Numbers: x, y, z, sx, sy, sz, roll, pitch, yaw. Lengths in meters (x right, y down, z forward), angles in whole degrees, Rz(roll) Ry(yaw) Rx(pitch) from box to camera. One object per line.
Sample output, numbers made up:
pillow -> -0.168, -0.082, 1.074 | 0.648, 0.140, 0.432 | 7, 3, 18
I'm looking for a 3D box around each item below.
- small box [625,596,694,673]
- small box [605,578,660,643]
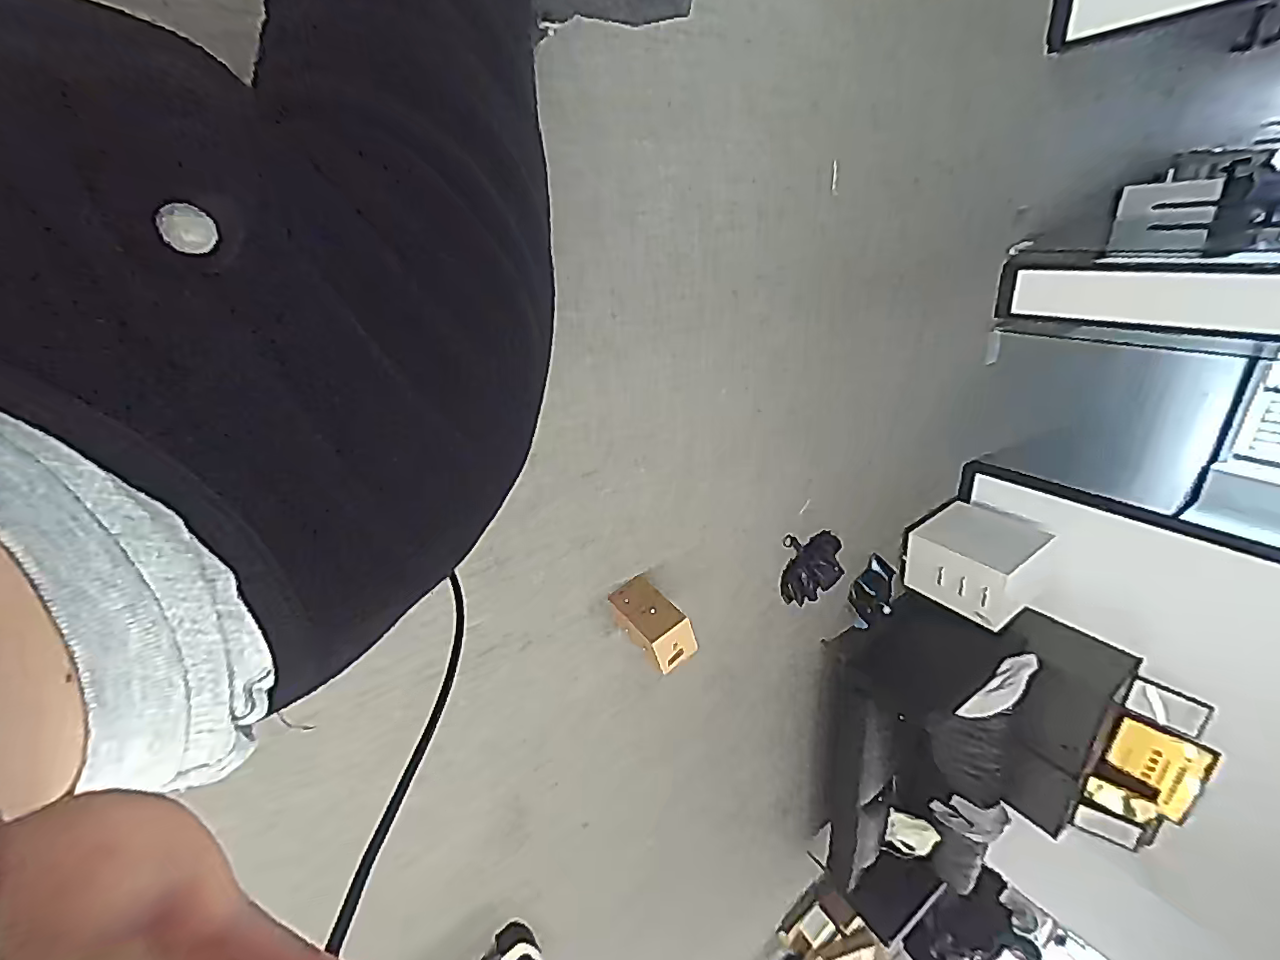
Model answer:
small box -> 0.070, 0.565, 1.995 | 0.168, 0.176, 0.179 | -31, 123, -21
small box -> -0.015, 0.511, 2.125 | 0.168, 0.176, 0.179 | -32, 126, -20
